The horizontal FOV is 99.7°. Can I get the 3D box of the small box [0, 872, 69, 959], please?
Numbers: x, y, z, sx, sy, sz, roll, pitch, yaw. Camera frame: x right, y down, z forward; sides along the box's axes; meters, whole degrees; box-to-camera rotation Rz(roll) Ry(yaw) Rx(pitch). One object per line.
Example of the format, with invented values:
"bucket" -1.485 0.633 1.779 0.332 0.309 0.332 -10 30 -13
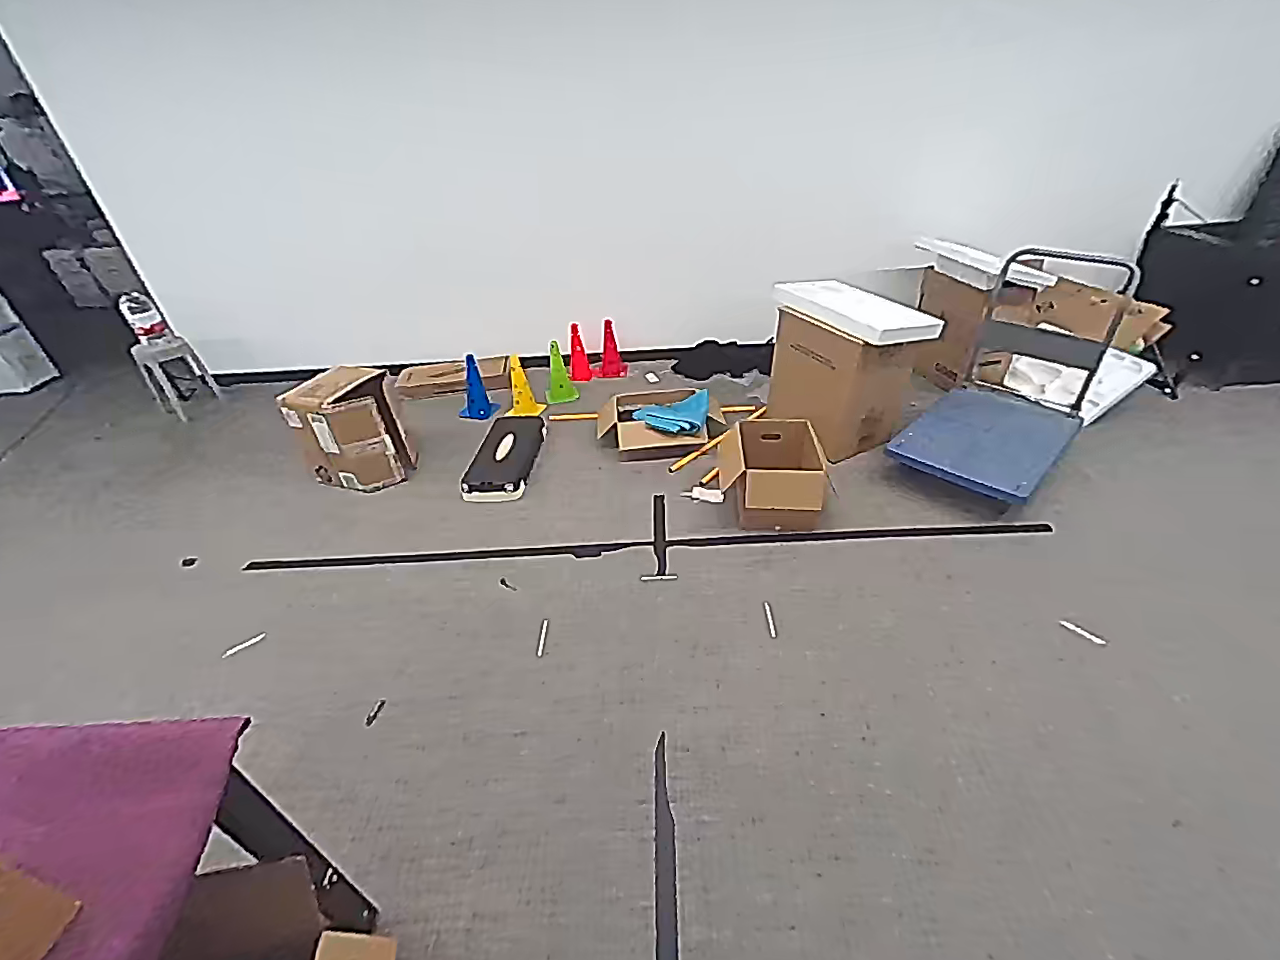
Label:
"small box" -0.797 0.523 0.573 0.168 0.176 0.179 0 35 6
